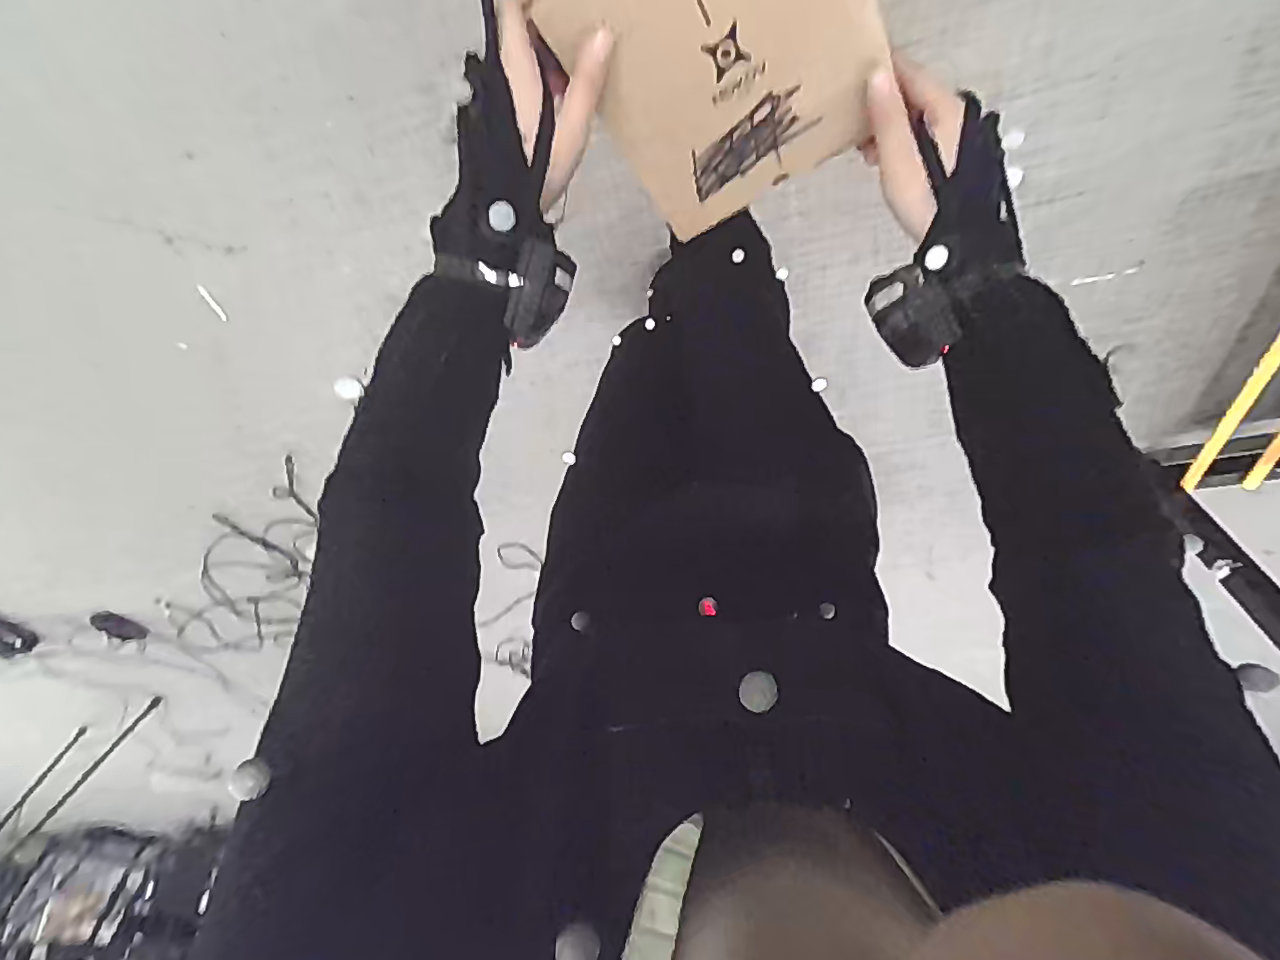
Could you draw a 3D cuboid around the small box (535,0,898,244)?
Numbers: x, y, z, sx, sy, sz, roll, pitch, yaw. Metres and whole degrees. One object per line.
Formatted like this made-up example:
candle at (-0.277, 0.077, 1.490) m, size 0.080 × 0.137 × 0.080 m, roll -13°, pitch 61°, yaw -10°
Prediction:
small box at (0.054, -0.311, 0.365) m, size 0.168 × 0.176 × 0.179 m, roll -19°, pitch 144°, yaw 28°
